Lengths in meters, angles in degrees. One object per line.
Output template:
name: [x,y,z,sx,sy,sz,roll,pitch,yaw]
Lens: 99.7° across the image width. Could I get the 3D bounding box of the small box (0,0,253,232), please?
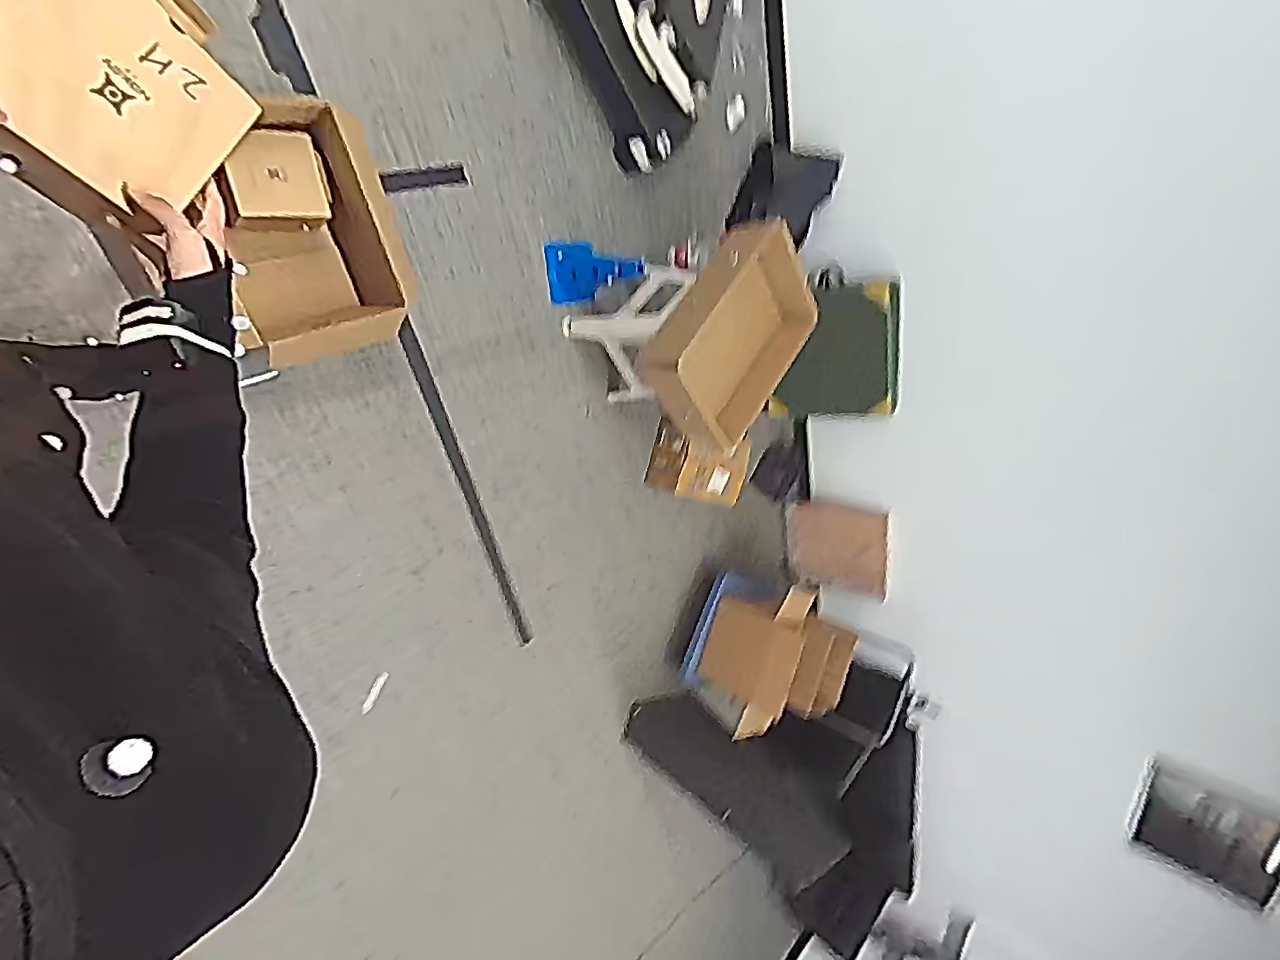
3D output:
small box: [-0.526,-0.360,0.503,0.179,0.176,0.168,-67,153,-14]
